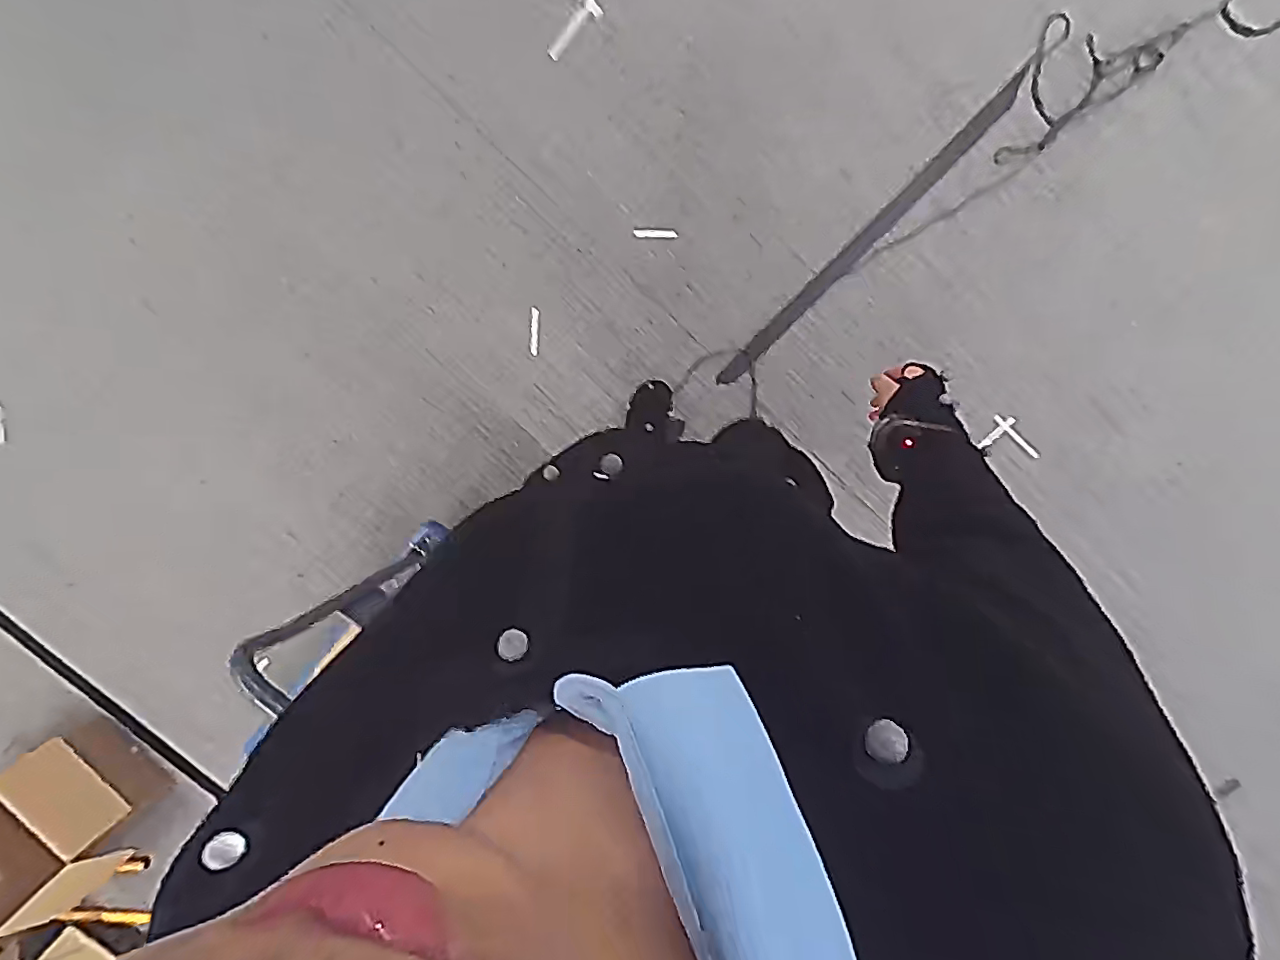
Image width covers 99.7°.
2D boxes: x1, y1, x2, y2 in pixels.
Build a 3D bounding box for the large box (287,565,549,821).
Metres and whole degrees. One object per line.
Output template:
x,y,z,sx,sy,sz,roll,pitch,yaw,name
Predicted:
-0.487,0.473,1.269,0.408,0.320,0.320,40,99,-3,large box
